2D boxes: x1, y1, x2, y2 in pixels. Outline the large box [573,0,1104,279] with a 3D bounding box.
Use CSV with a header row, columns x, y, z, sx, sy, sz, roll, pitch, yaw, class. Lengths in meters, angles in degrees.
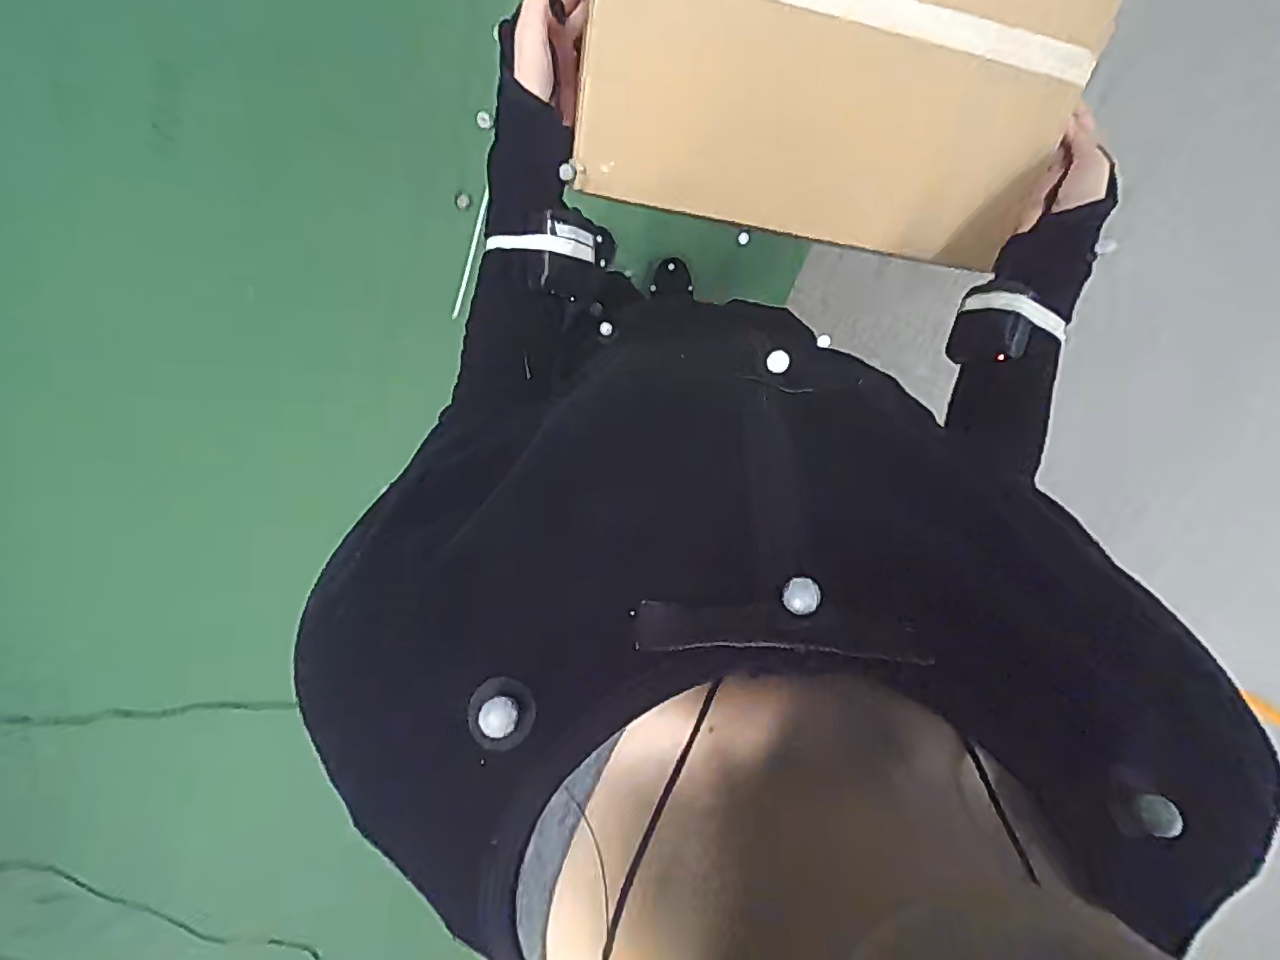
x,y,z,sx,sy,sz,roll,pitch,yaw,class
0.152,-0.422,0.559,0.408,0.320,0.320,8,116,-10,large box
